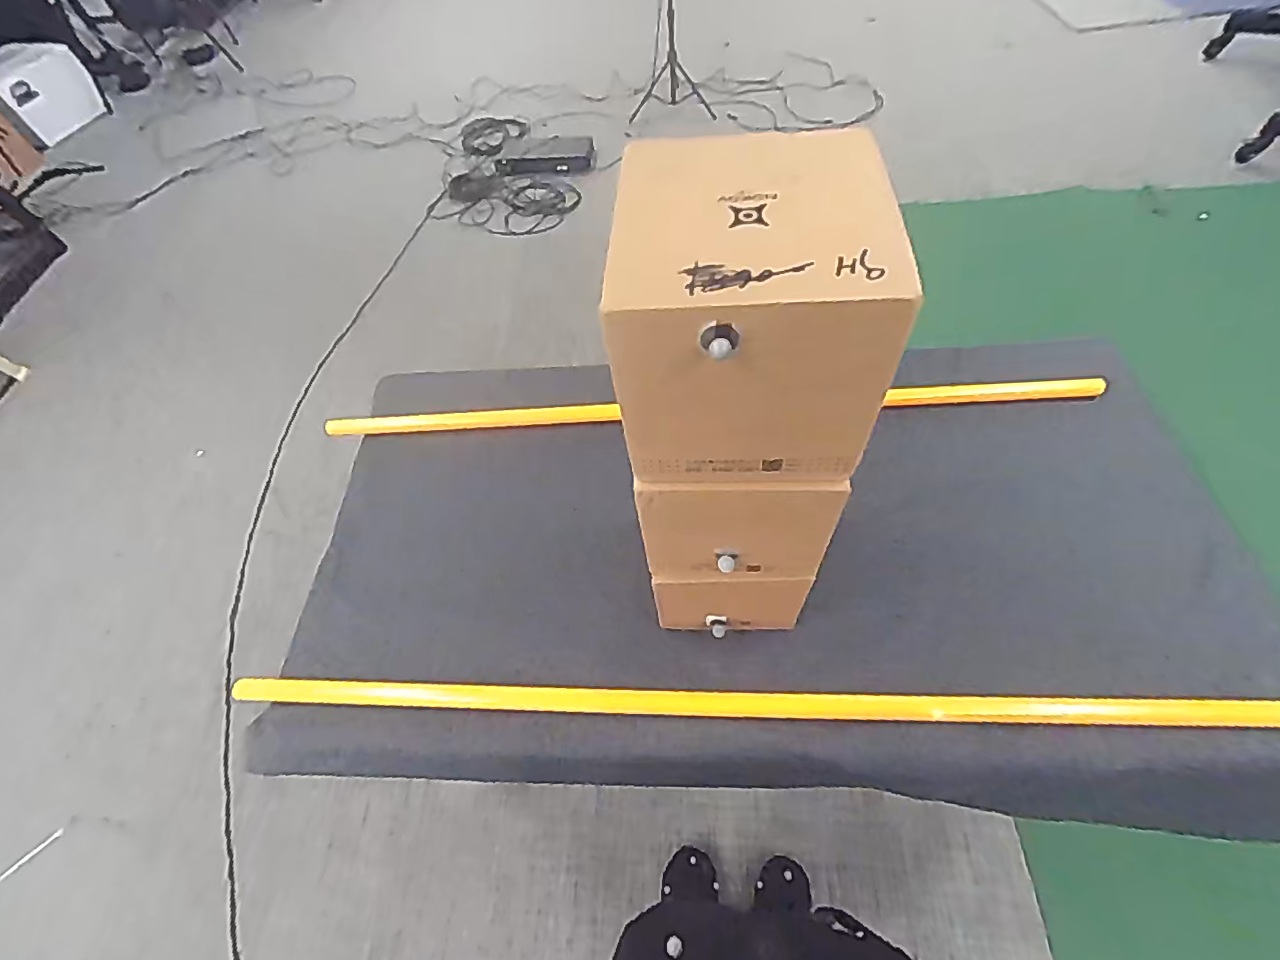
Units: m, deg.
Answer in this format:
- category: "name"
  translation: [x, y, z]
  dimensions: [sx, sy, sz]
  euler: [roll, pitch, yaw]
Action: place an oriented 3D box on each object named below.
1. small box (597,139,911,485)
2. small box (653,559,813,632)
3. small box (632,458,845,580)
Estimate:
- category: "small box"
  translation: [0.072, -0.115, 0.395]
  dimensions: [0.168, 0.176, 0.179]
  euler: [0, 56, 8]
- category: "small box"
  translation: [0.103, 0.075, 0.662]
  dimensions: [0.168, 0.176, 0.179]
  euler: [-3, 58, 6]
- category: "small box"
  translation: [0.089, -0.019, 0.527]
  dimensions: [0.168, 0.176, 0.179]
  euler: [0, 58, 8]
